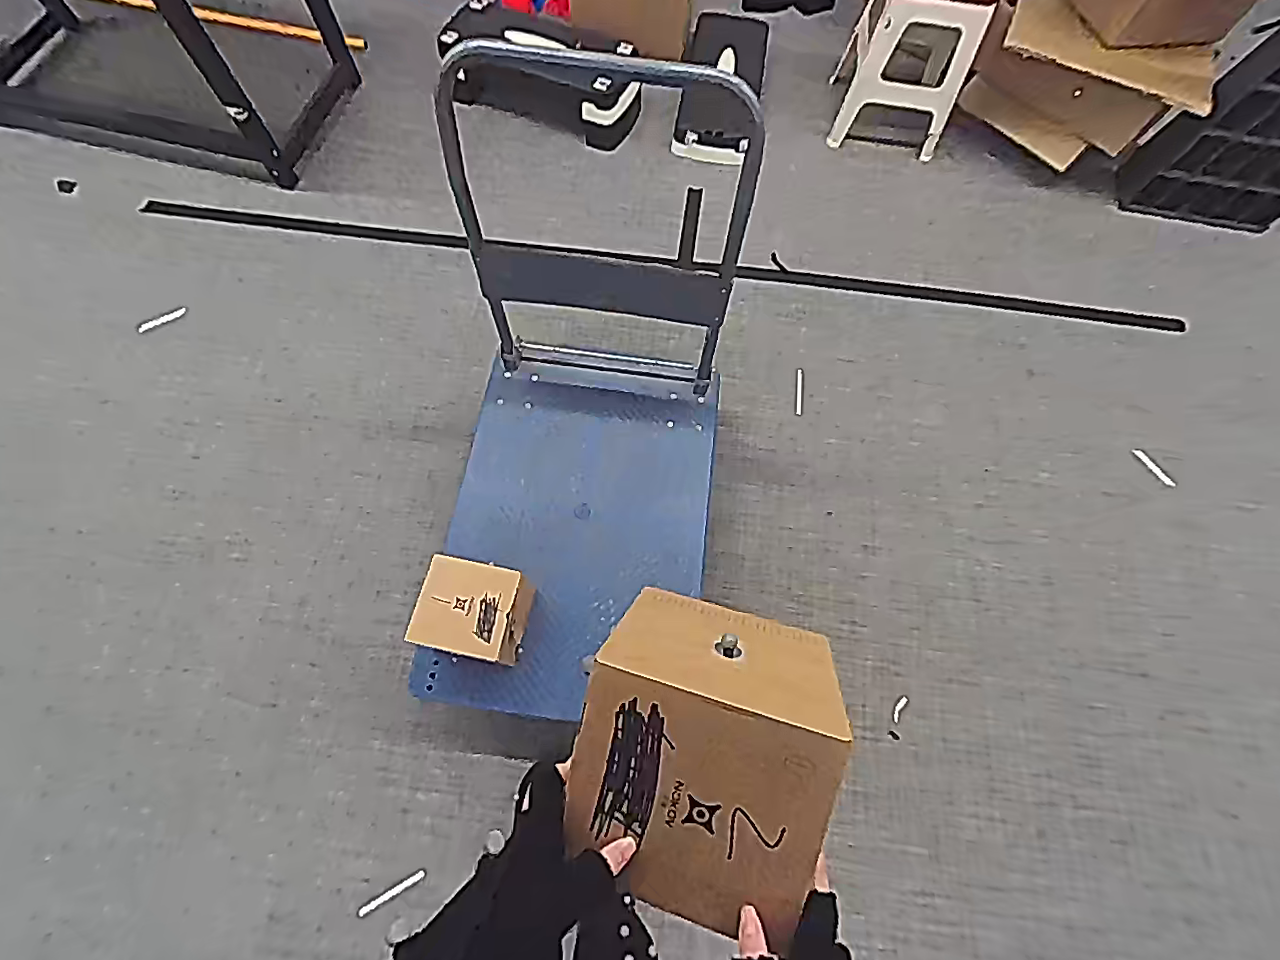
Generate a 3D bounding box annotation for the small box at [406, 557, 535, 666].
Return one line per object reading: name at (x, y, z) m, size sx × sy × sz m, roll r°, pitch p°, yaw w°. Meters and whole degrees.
small box at (-0.318, 0.264, 1.061) m, size 0.179 × 0.176 × 0.168 m, roll 12°, pitch 68°, yaw 3°
